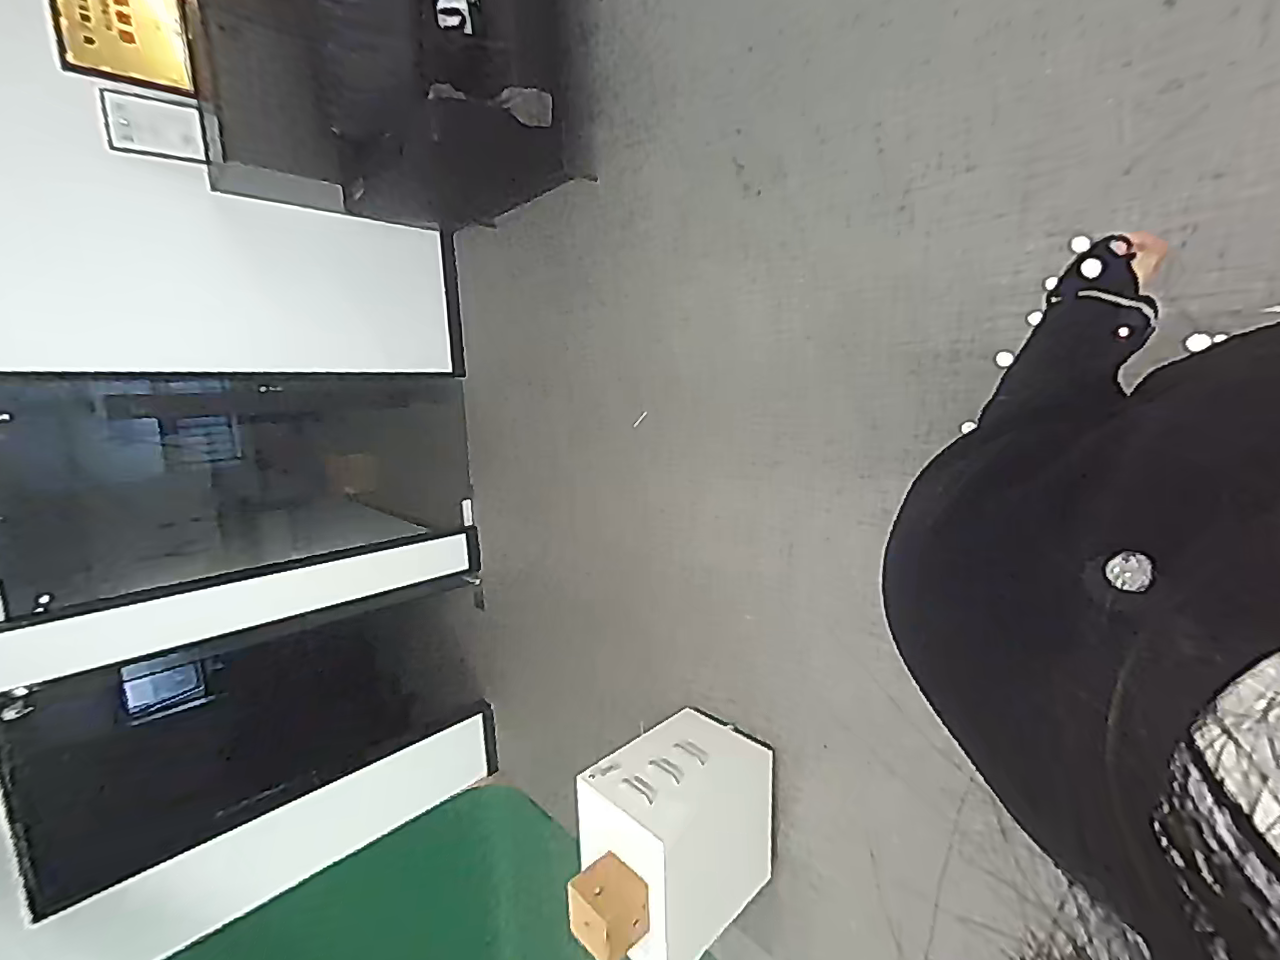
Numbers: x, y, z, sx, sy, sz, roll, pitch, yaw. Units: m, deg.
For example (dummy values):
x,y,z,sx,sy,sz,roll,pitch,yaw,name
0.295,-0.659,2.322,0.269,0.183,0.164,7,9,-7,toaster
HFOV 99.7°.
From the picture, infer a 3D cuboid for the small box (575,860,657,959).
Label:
x,y,z,sx,sy,sz,roll,pitch,yaw,name
-0.069,1.259,1.576,0.179,0.176,0.168,5,101,46,small box
